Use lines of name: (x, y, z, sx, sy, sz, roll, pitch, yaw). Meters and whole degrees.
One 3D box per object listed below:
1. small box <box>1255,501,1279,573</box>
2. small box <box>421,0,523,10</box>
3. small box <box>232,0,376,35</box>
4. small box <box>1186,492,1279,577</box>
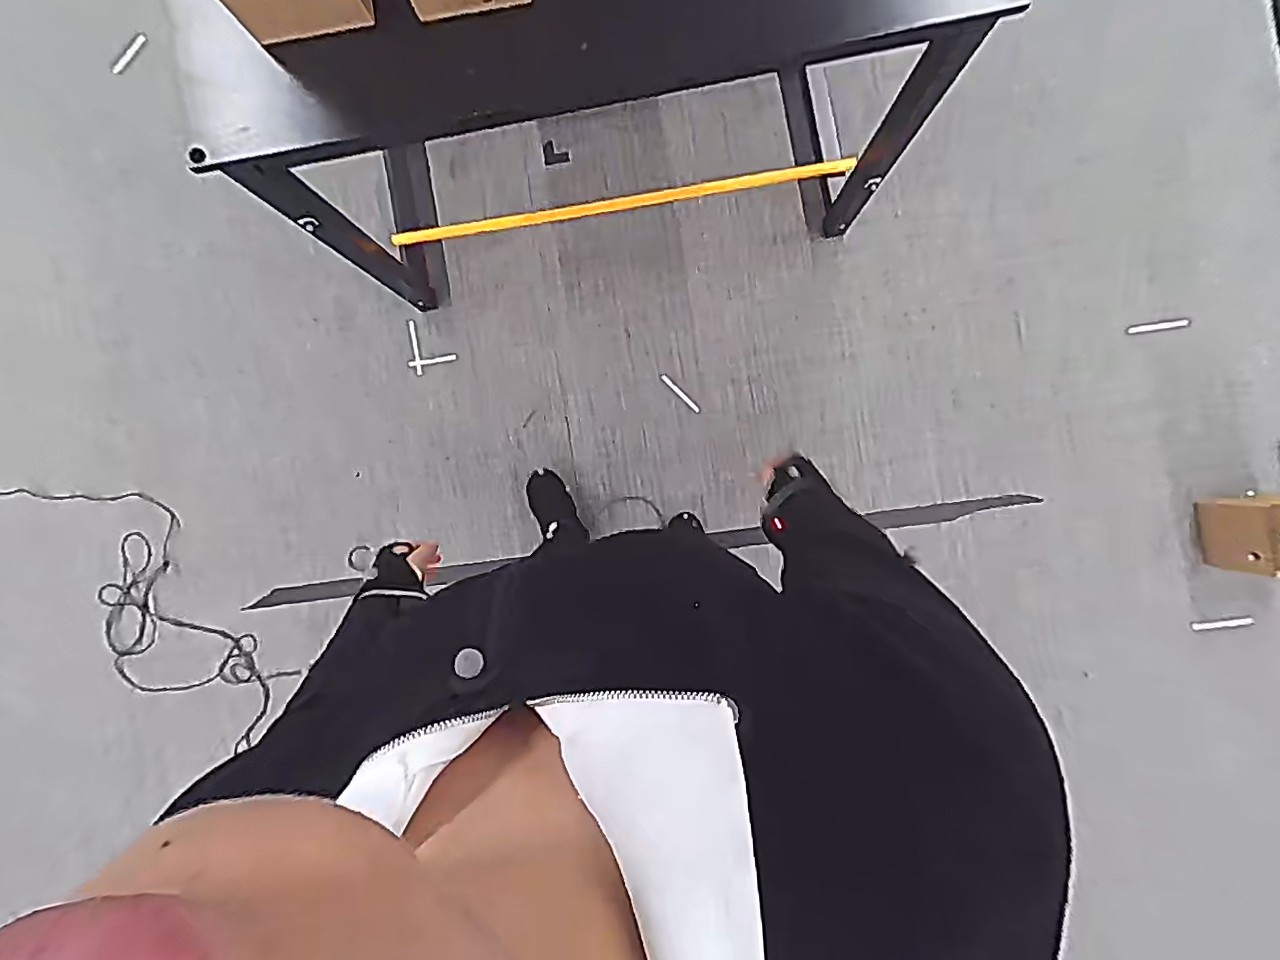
small box: (1.546, 0.126, 1.195, 0.179, 0.176, 0.168, -8, 89, 4)
small box: (-0.246, -0.756, 0.695, 0.168, 0.176, 0.179, -8, 90, 2)
small box: (-0.477, -0.728, 0.701, 0.179, 0.176, 0.168, -8, 90, 1)
small box: (1.542, 0.131, 1.358, 0.168, 0.176, 0.179, -9, 90, 2)
